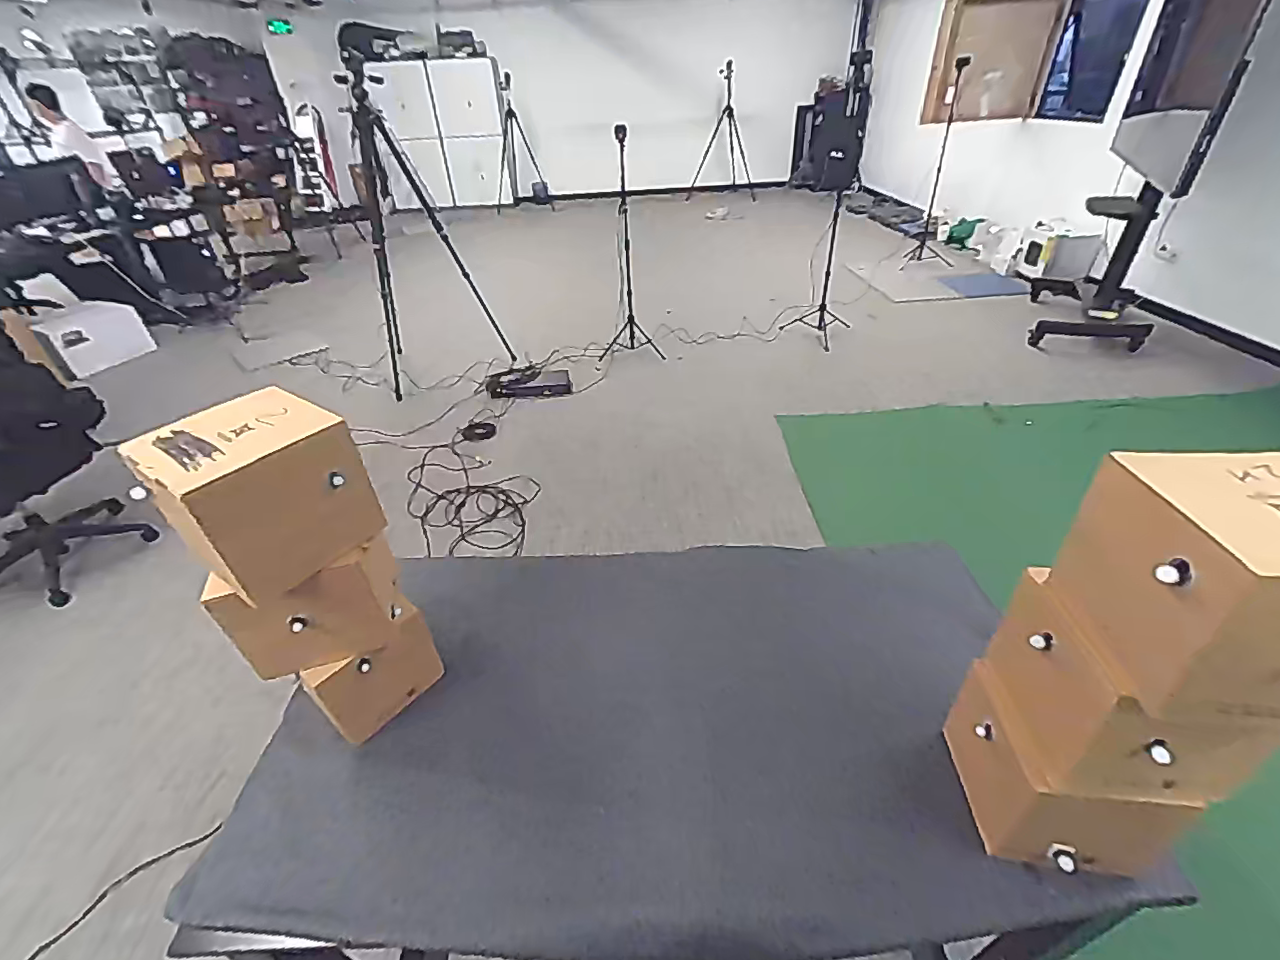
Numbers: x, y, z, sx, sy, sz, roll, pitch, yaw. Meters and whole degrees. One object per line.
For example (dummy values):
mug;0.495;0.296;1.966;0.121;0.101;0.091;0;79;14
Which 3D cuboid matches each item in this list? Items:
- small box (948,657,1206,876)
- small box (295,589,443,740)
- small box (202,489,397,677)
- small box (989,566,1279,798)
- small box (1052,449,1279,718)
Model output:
small box;0.512;0.349;0.673;0.168;0.176;0.179;1;34;8
small box;-0.447;0.273;0.862;0.179;0.176;0.168;24;45;31
small box;-0.454;0.143;0.760;0.179;0.176;0.168;-15;39;-14
small box;0.517;0.213;0.584;0.168;0.176;0.179;0;32;6
small box;0.515;0.088;0.474;0.168;0.176;0.179;1;32;7
